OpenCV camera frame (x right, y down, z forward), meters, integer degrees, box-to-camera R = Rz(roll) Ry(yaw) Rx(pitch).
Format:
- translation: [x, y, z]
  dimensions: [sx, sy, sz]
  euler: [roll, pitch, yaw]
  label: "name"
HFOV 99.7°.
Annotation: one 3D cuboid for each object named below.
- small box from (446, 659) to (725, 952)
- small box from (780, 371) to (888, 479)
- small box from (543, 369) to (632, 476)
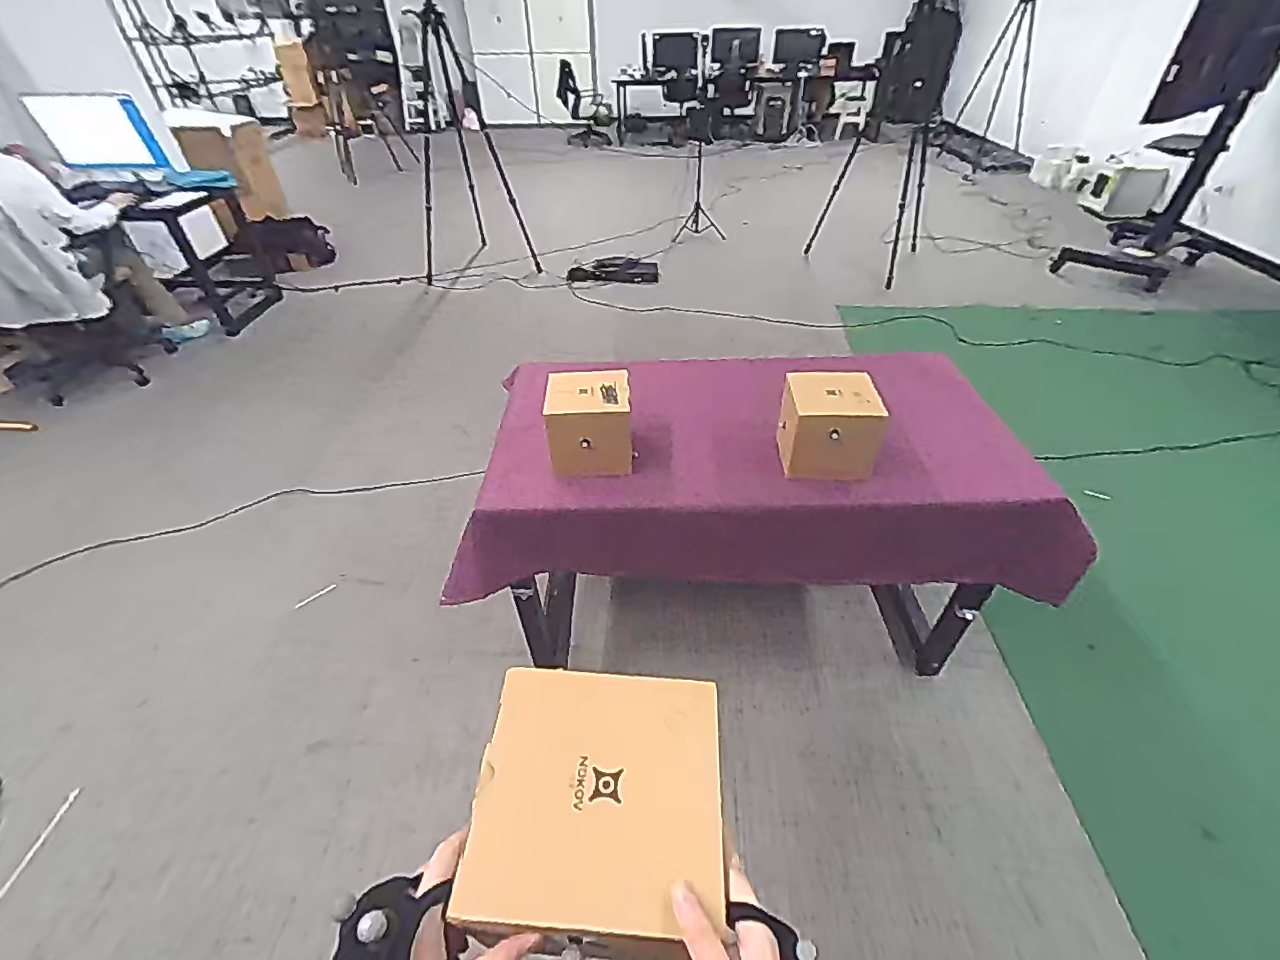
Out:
- translation: [-0.031, 0.269, 0.445]
  dimensions: [0.179, 0.176, 0.168]
  euler: [3, 44, 2]
  label: "small box"
- translation: [0.400, -0.116, 1.152]
  dimensions: [0.179, 0.176, 0.168]
  euler: [2, 42, 4]
  label: "small box"
- translation: [-0.106, -0.124, 1.180]
  dimensions: [0.179, 0.176, 0.168]
  euler: [-3, 41, 0]
  label: "small box"
